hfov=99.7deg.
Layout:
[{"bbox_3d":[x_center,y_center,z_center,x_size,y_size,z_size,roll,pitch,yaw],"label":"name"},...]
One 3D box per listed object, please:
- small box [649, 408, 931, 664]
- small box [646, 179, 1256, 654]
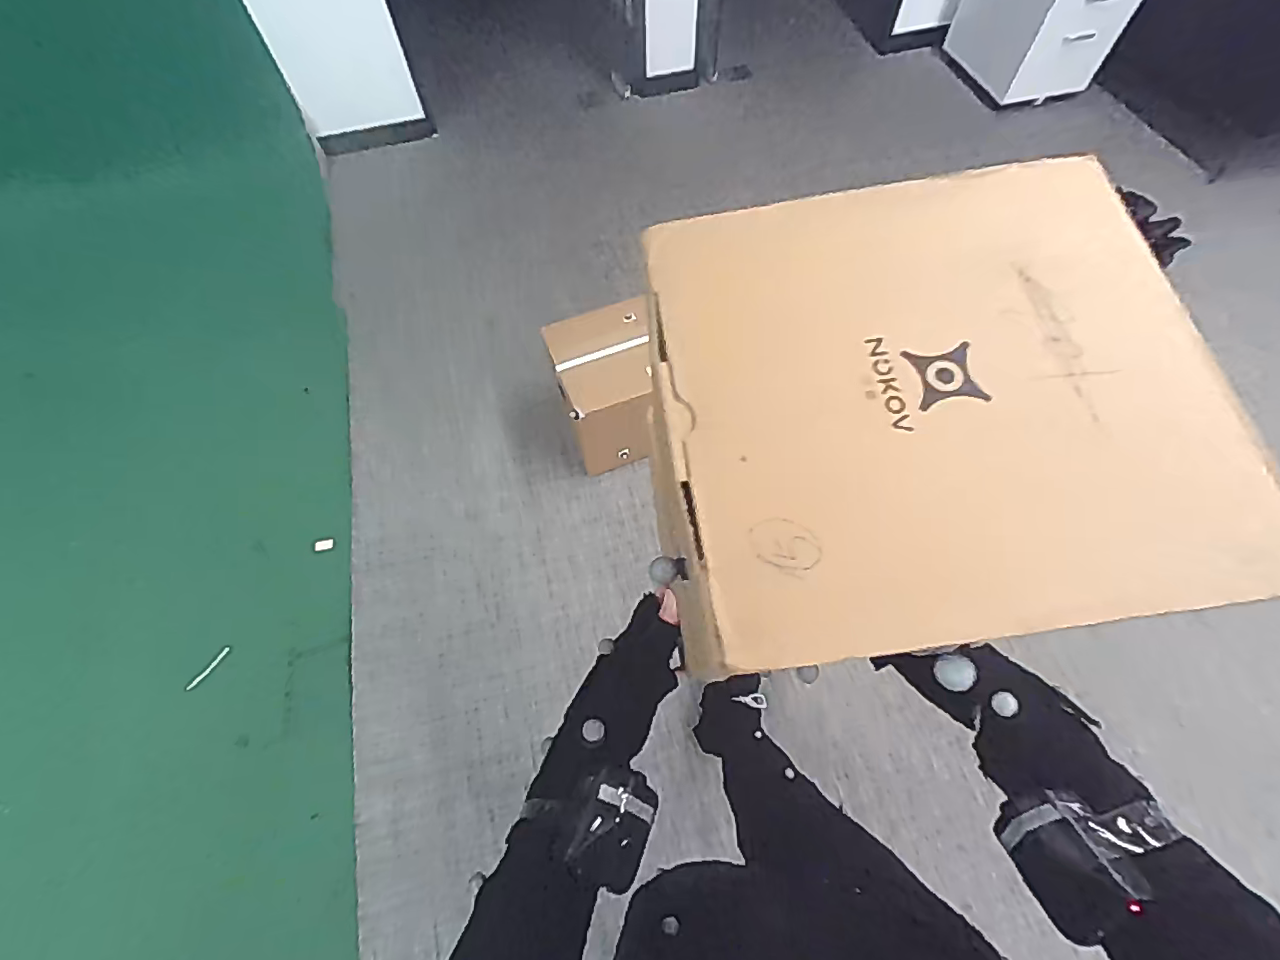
[{"bbox_3d":[0.105,0.043,0.428,0.168,0.176,0.179,-10,69,0],"label":"small box"},{"bbox_3d":[0.104,-0.010,0.273,0.179,0.176,0.168,-9,70,0],"label":"small box"}]
